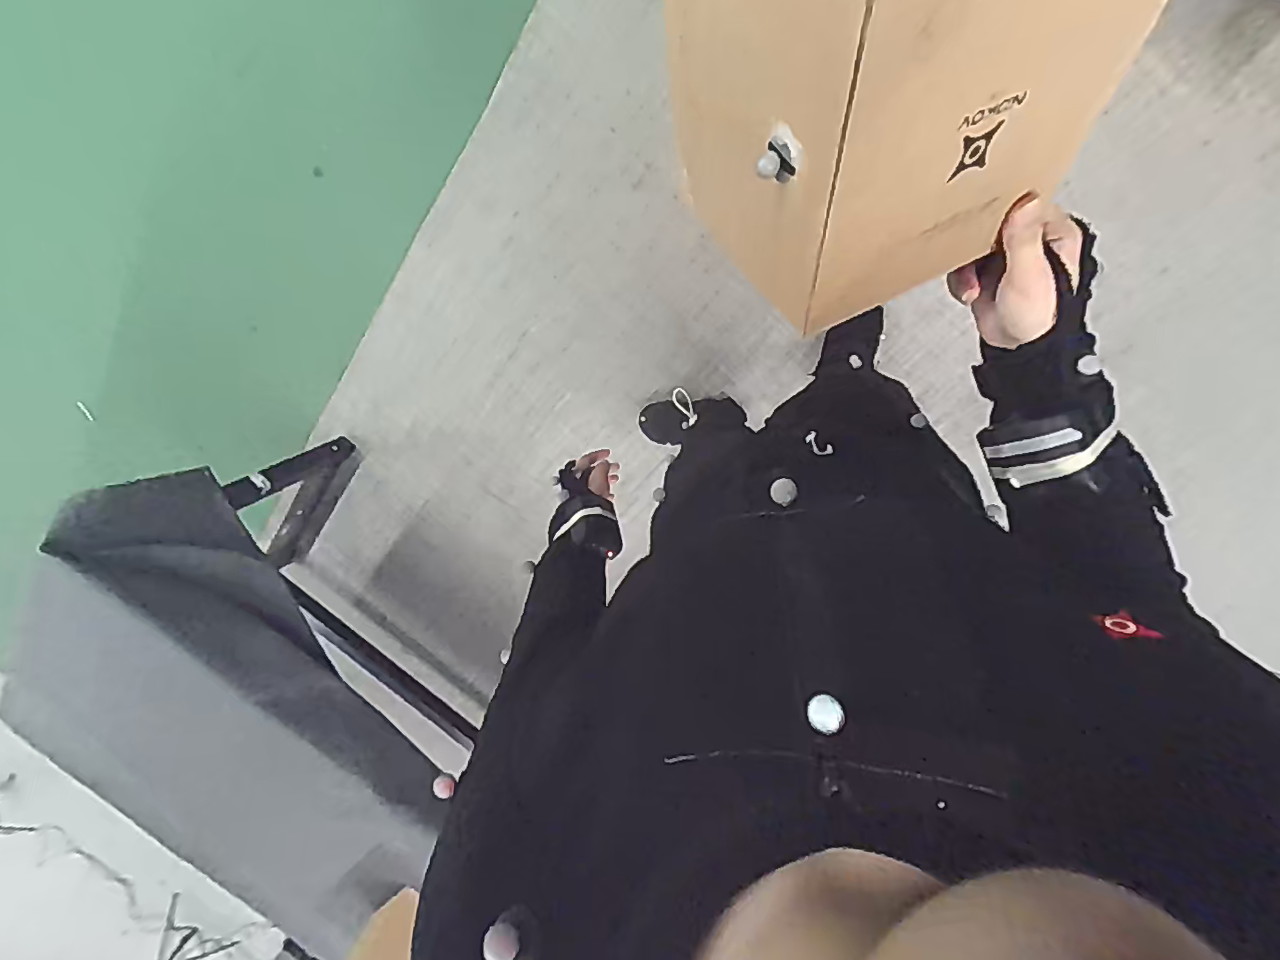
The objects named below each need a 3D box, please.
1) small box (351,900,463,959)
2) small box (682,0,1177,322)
[{"bbox_3d":[-0.464,0.946,1.020,0.168,0.176,0.179,39,115,-4],"label":"small box"},{"bbox_3d":[0.128,-0.227,0.287,0.168,0.179,0.176,-25,63,-5],"label":"small box"}]
